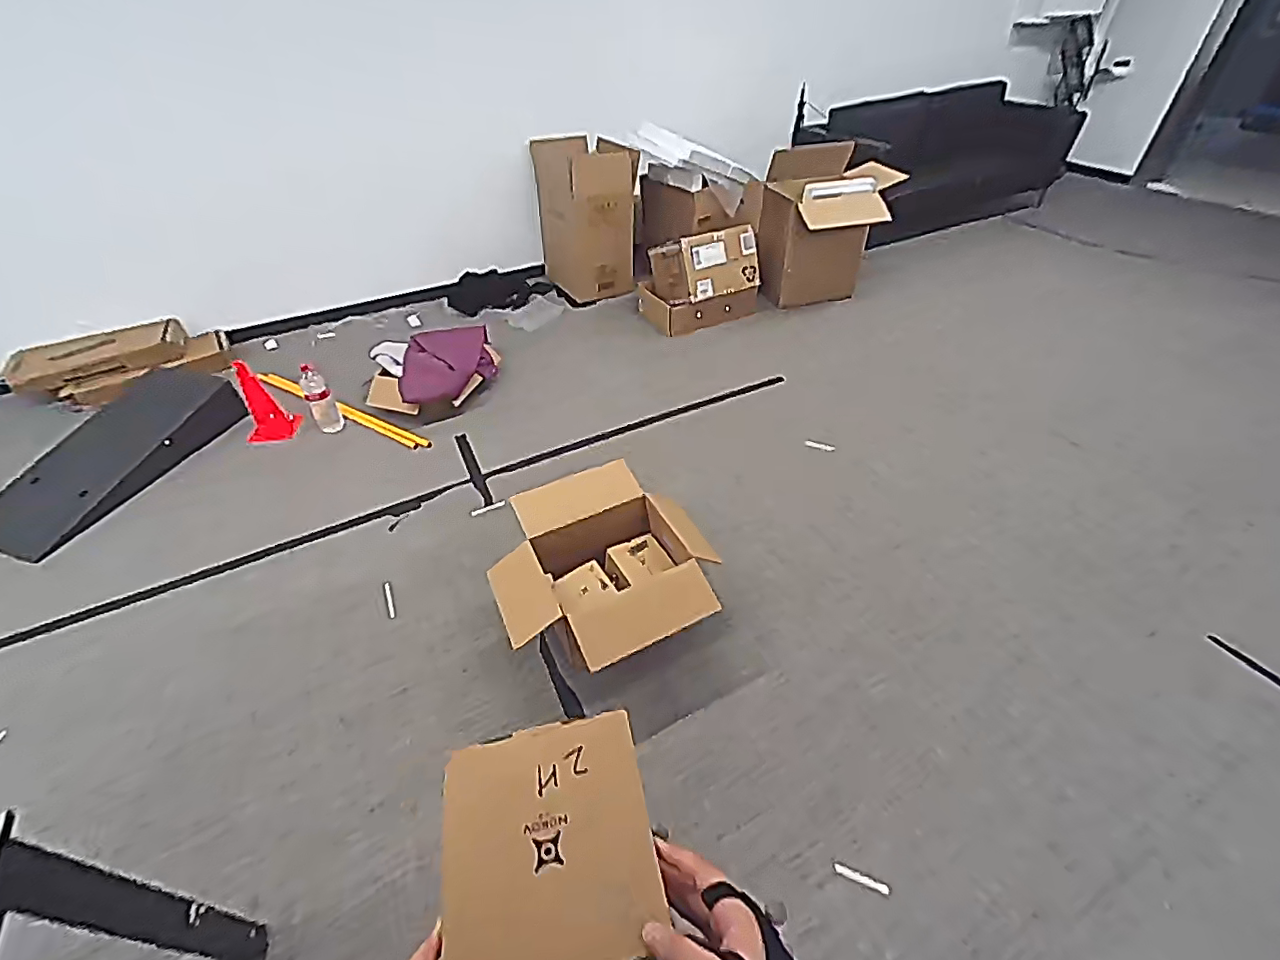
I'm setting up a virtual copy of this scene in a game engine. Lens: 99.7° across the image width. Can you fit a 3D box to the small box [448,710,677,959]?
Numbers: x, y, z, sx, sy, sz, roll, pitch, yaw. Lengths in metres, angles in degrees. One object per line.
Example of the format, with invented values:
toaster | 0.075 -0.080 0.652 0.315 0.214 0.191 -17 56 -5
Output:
small box | -0.067 0.342 0.489 0.168 0.176 0.179 -11 47 -8
